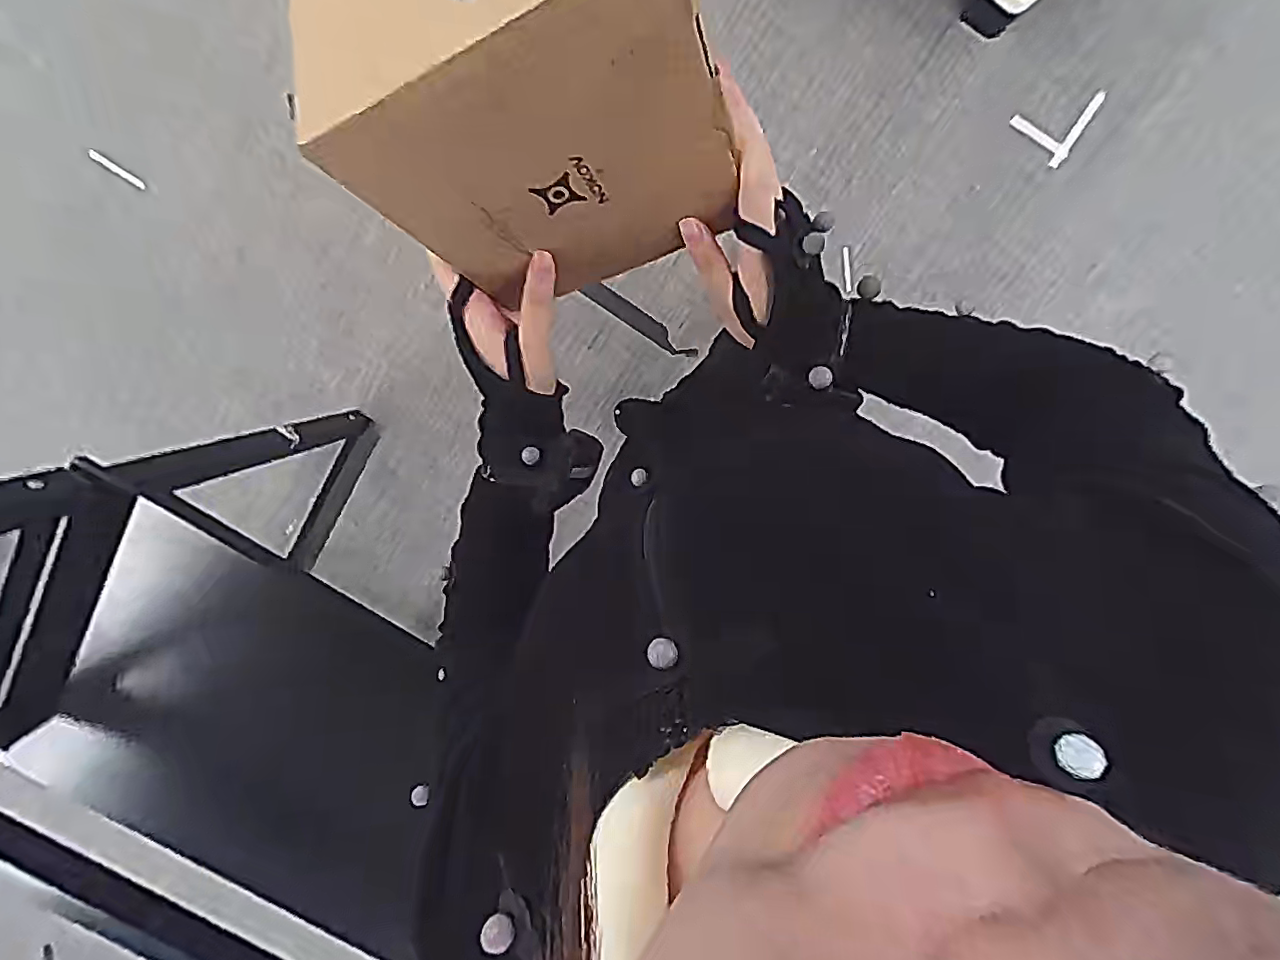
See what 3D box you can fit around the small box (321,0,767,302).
[{"bbox_3d":[-0.043,-0.232,0.291,0.179,0.168,0.176,-13,76,18],"label":"small box"}]
